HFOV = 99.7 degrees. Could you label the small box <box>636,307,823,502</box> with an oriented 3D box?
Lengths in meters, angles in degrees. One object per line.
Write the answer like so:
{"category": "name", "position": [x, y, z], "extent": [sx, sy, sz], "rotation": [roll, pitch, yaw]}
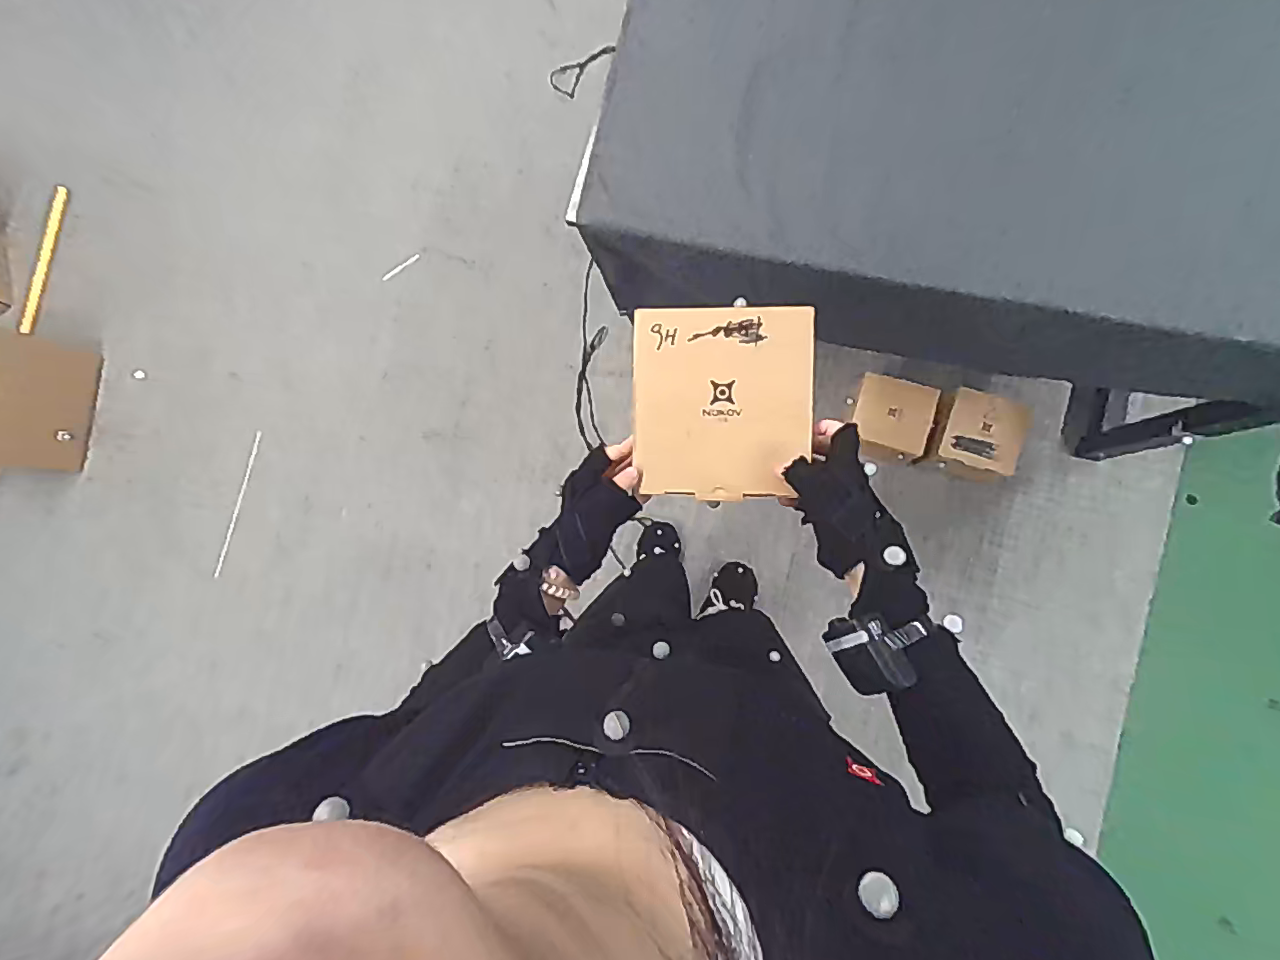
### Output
{"category": "small box", "position": [0.087, -0.071, 0.567], "extent": [0.168, 0.176, 0.179], "rotation": [1, 91, 5]}
